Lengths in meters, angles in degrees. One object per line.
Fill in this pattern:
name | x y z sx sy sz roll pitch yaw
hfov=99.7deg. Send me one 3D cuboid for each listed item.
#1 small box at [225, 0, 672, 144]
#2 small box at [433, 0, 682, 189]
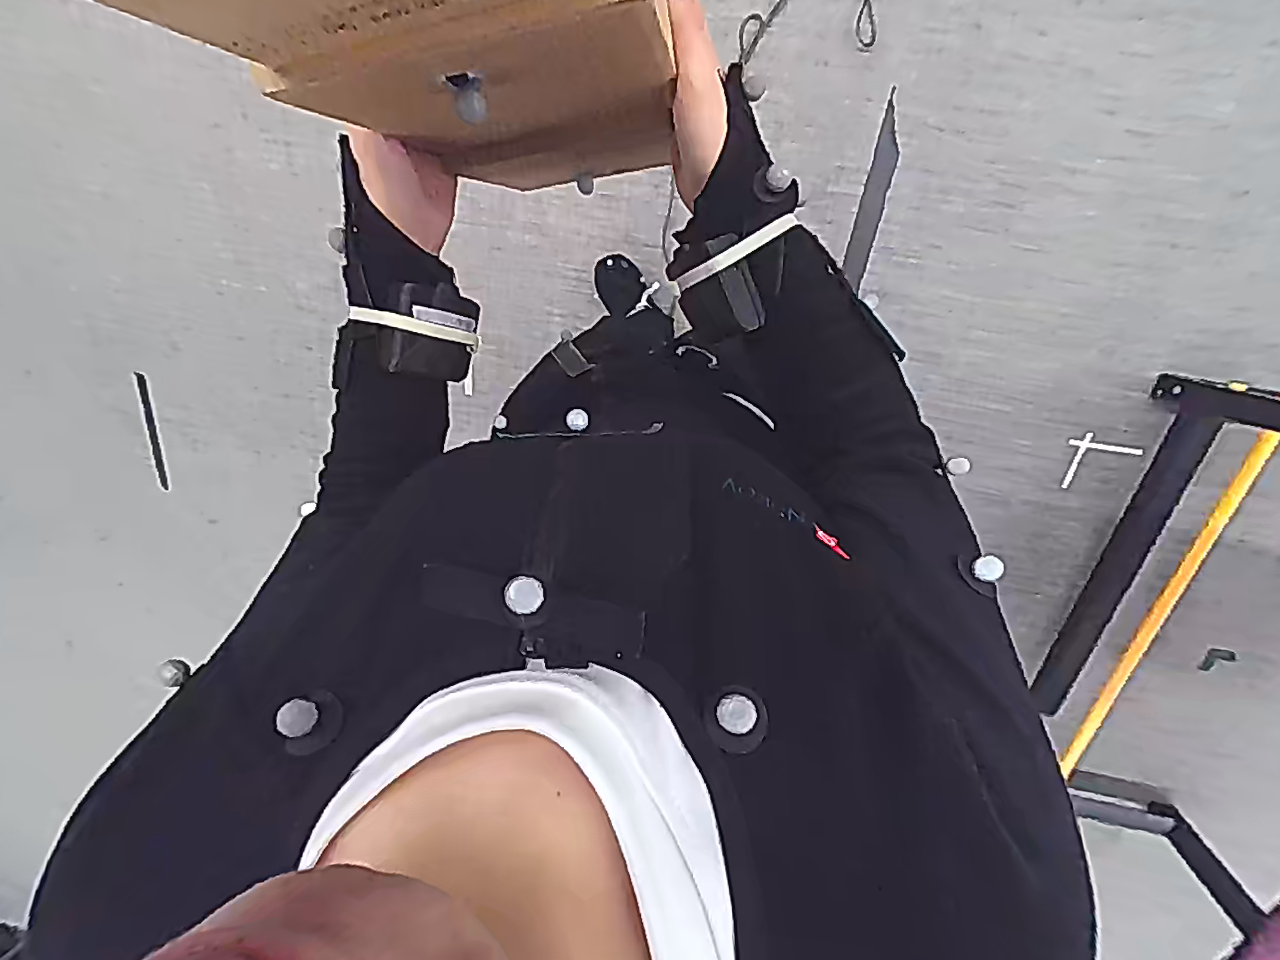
small box | -0.081 -0.280 0.259 0.179 0.176 0.168 -4 113 12
small box | -0.062 -0.336 0.410 0.168 0.176 0.179 -4 114 11
